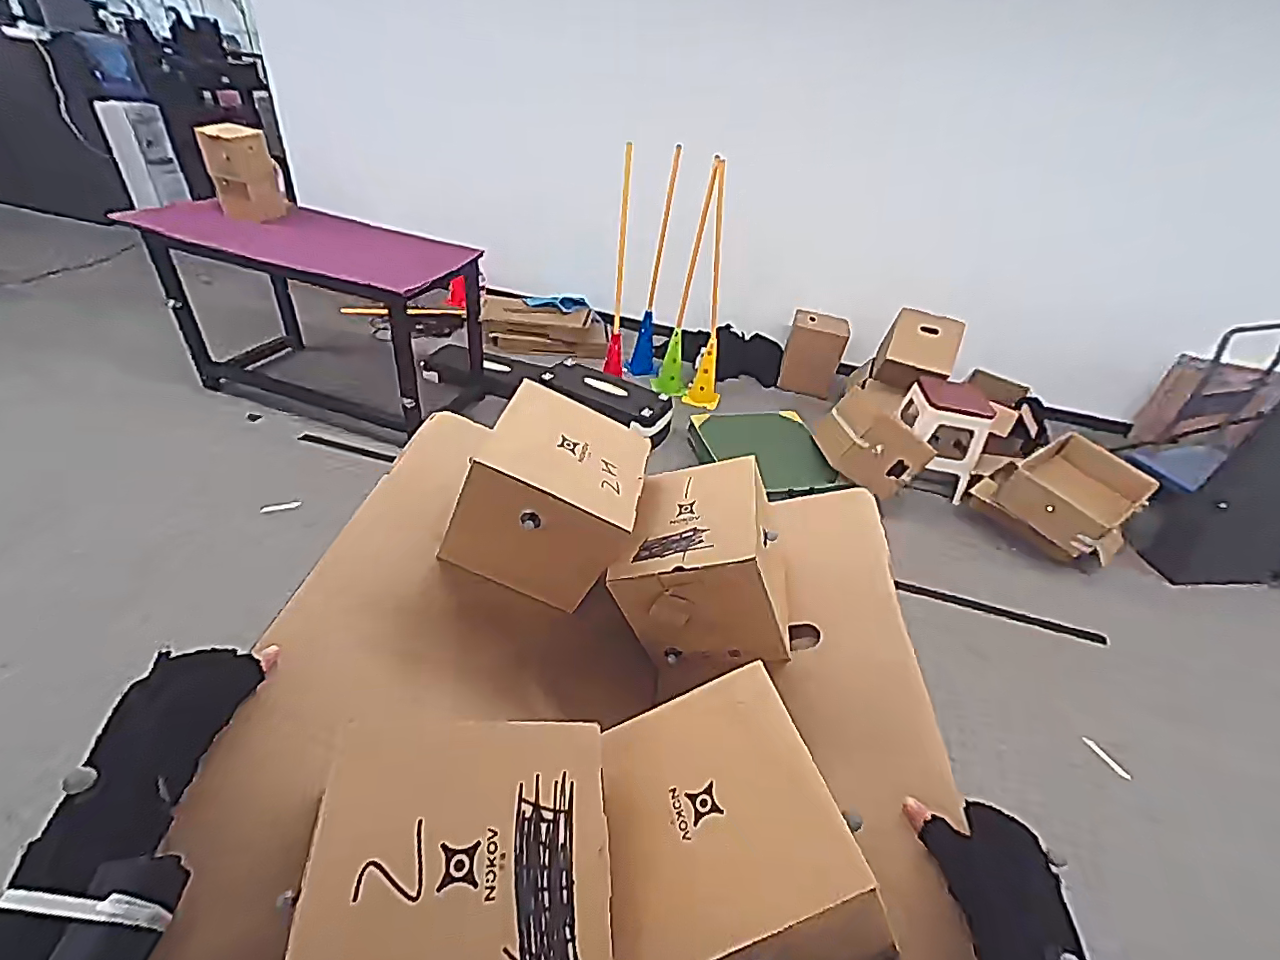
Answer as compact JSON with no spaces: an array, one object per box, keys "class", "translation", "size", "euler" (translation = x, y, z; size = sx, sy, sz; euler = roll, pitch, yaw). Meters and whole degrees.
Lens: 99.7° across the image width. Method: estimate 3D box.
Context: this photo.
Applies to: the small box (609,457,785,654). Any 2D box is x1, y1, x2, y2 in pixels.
[{"class":"small box","translation":[0.081,0.100,0.673],"size":[0.168,0.176,0.179],"euler":[-11,35,20]}]
